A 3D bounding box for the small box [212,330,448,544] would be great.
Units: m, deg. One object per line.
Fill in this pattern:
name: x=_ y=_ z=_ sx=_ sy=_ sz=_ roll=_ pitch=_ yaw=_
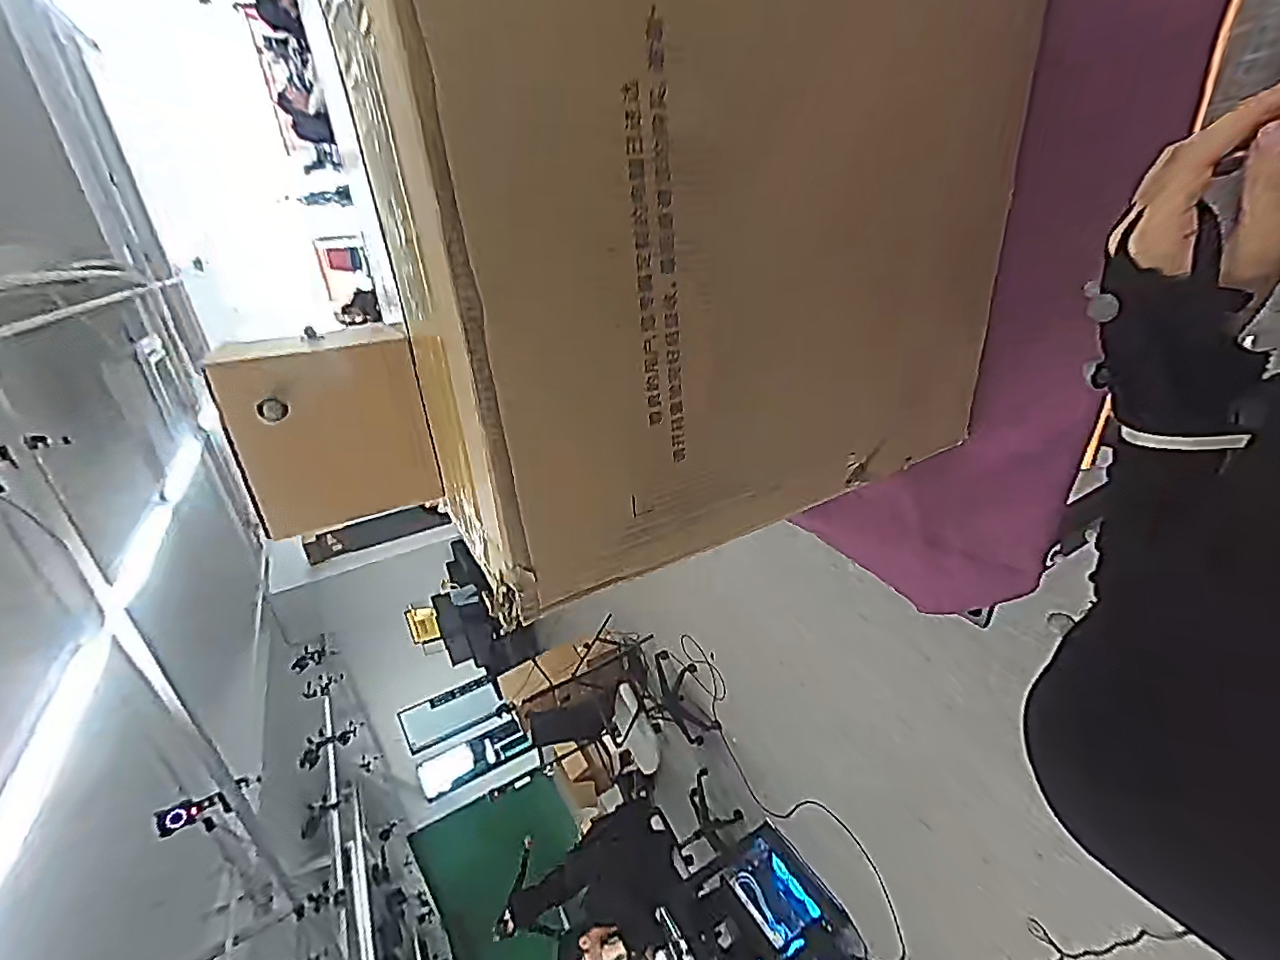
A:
small box: x=-0.324 y=-0.061 z=0.587 sx=0.168 sy=0.176 sz=0.179 roll=33 pitch=134 yaw=54
